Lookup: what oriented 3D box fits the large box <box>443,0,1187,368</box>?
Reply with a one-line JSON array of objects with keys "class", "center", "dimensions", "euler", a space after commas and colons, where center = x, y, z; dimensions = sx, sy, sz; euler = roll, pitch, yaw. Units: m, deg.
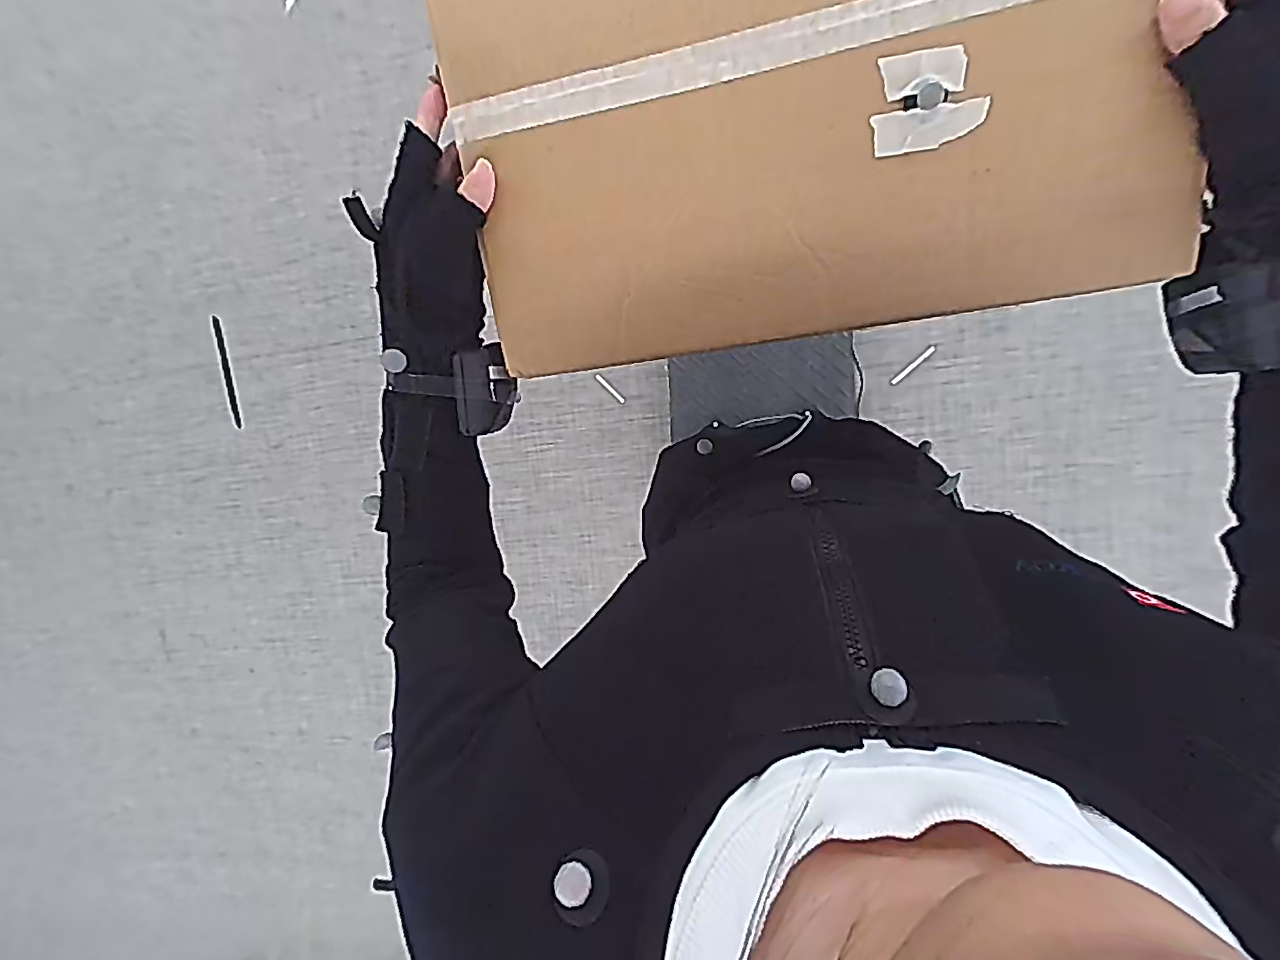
[{"class": "large box", "center": [0.104, -0.288, 0.452], "dimensions": [0.408, 0.320, 0.320], "euler": [-7, 105, 10]}]
